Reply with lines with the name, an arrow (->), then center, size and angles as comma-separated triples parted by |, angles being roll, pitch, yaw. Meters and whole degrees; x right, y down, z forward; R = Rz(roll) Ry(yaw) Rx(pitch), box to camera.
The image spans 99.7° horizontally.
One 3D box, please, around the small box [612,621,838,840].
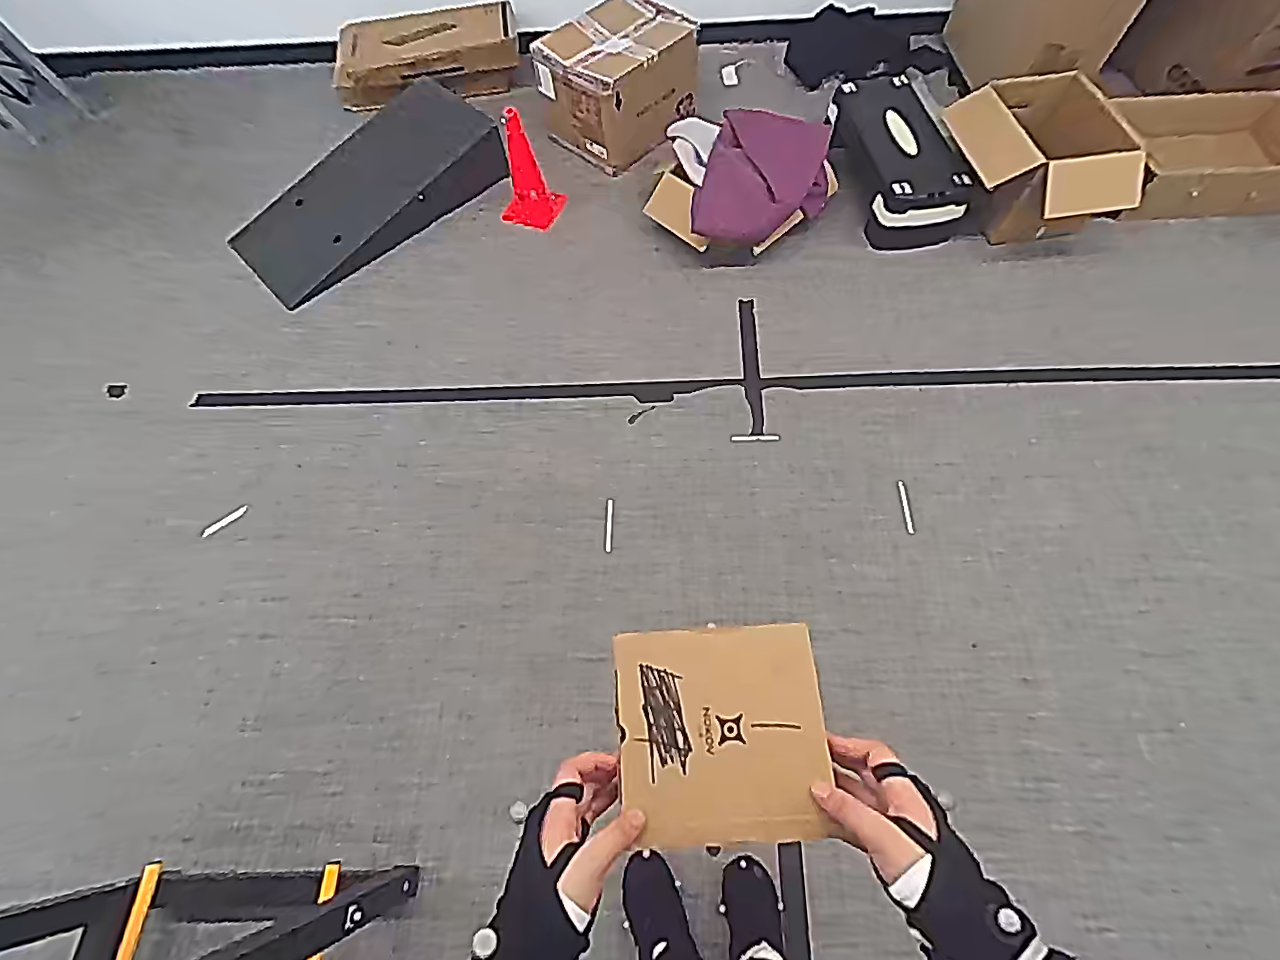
small box -> 0.070, 0.238, 0.528 | 0.179, 0.176, 0.168 | -4, 66, 1
